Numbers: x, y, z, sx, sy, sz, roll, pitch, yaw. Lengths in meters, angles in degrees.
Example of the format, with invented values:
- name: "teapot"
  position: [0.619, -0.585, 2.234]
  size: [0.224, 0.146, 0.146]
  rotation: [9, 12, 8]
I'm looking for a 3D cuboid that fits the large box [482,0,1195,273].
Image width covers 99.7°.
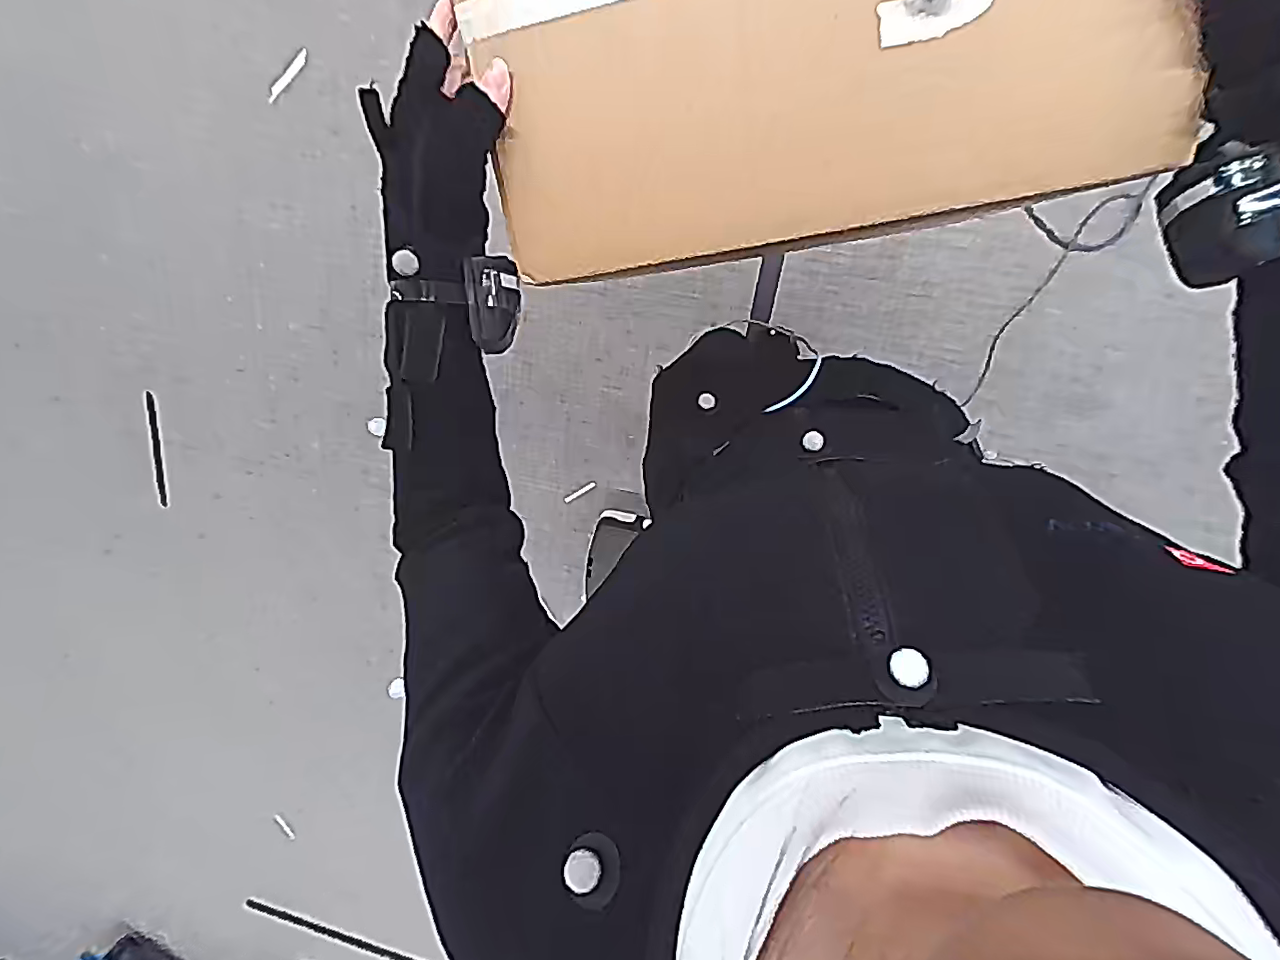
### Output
- name: "large box"
  position: [0.114, -0.367, 0.442]
  size: [0.408, 0.320, 0.320]
  rotation: [-6, 110, 11]
